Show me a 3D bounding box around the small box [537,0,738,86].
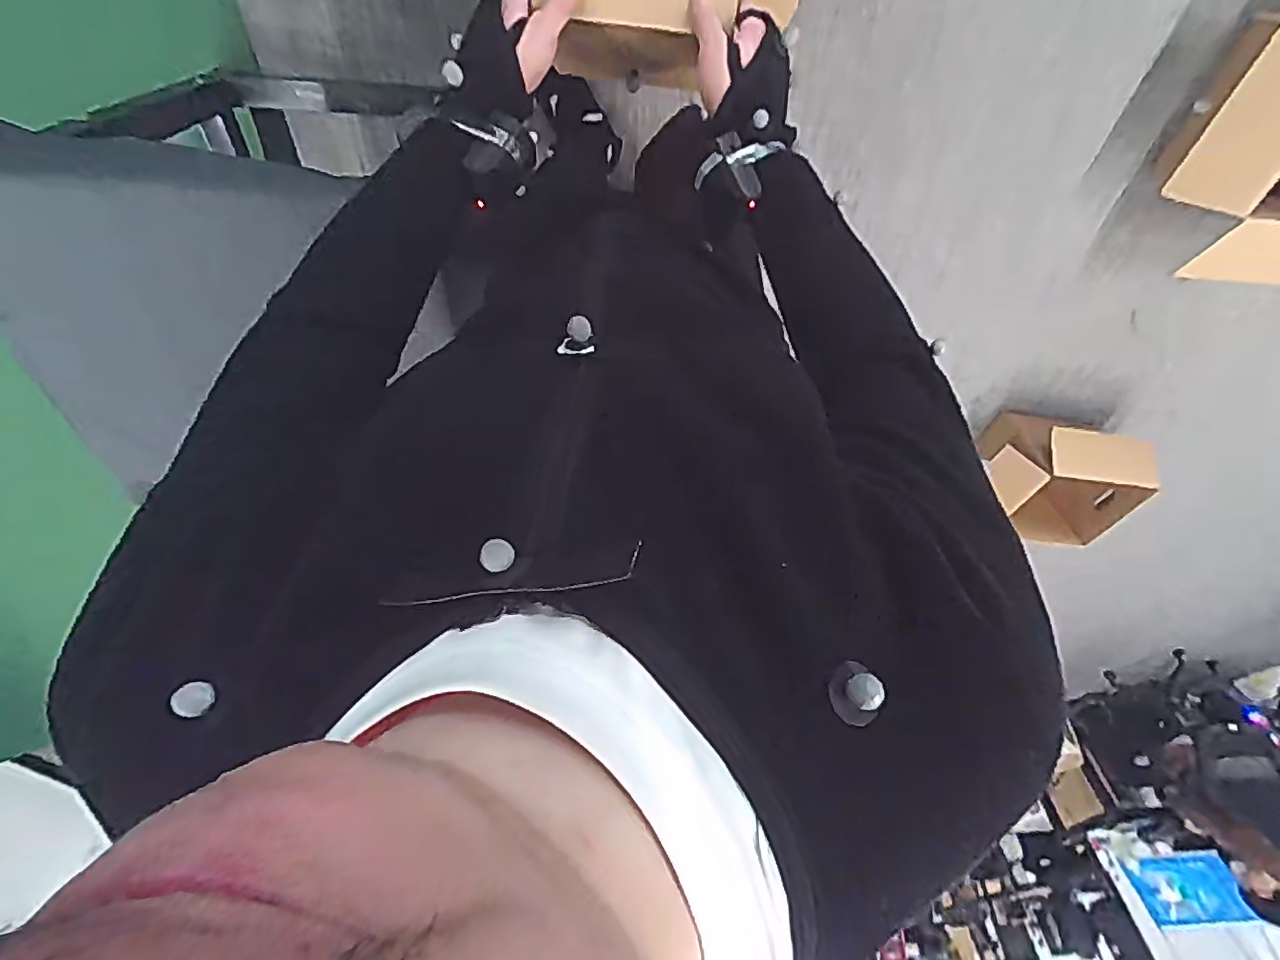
[{"bbox_3d":[0.001,-0.499,0.518,0.179,0.176,0.168,3,114,-2],"label":"small box"}]
